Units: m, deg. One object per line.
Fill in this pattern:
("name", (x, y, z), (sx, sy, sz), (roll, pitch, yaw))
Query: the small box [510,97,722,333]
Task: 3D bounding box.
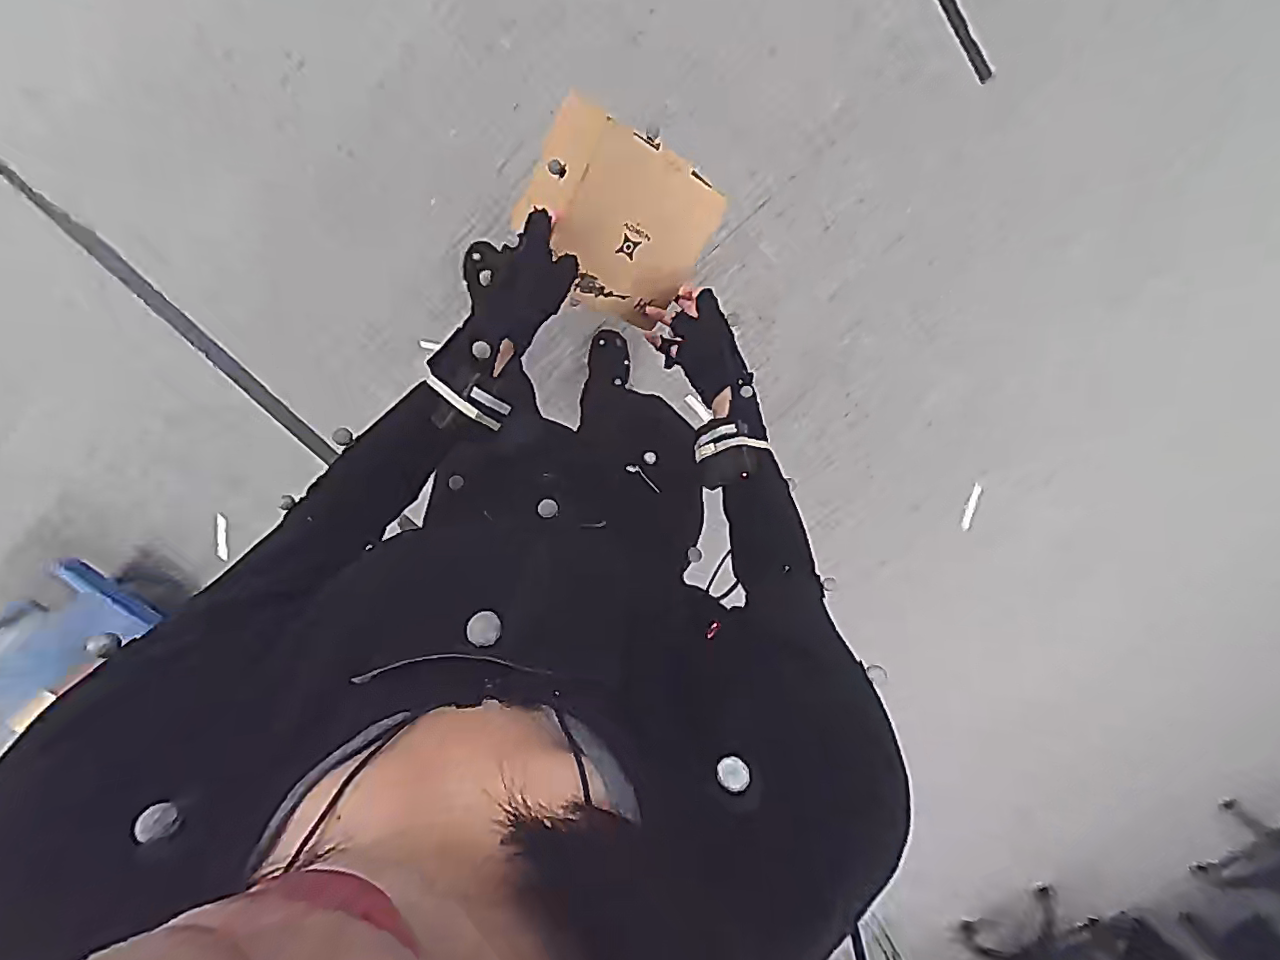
("small box", (-0.041, -0.315, 0.645), (0.168, 0.176, 0.179), (14, 123, -35))
